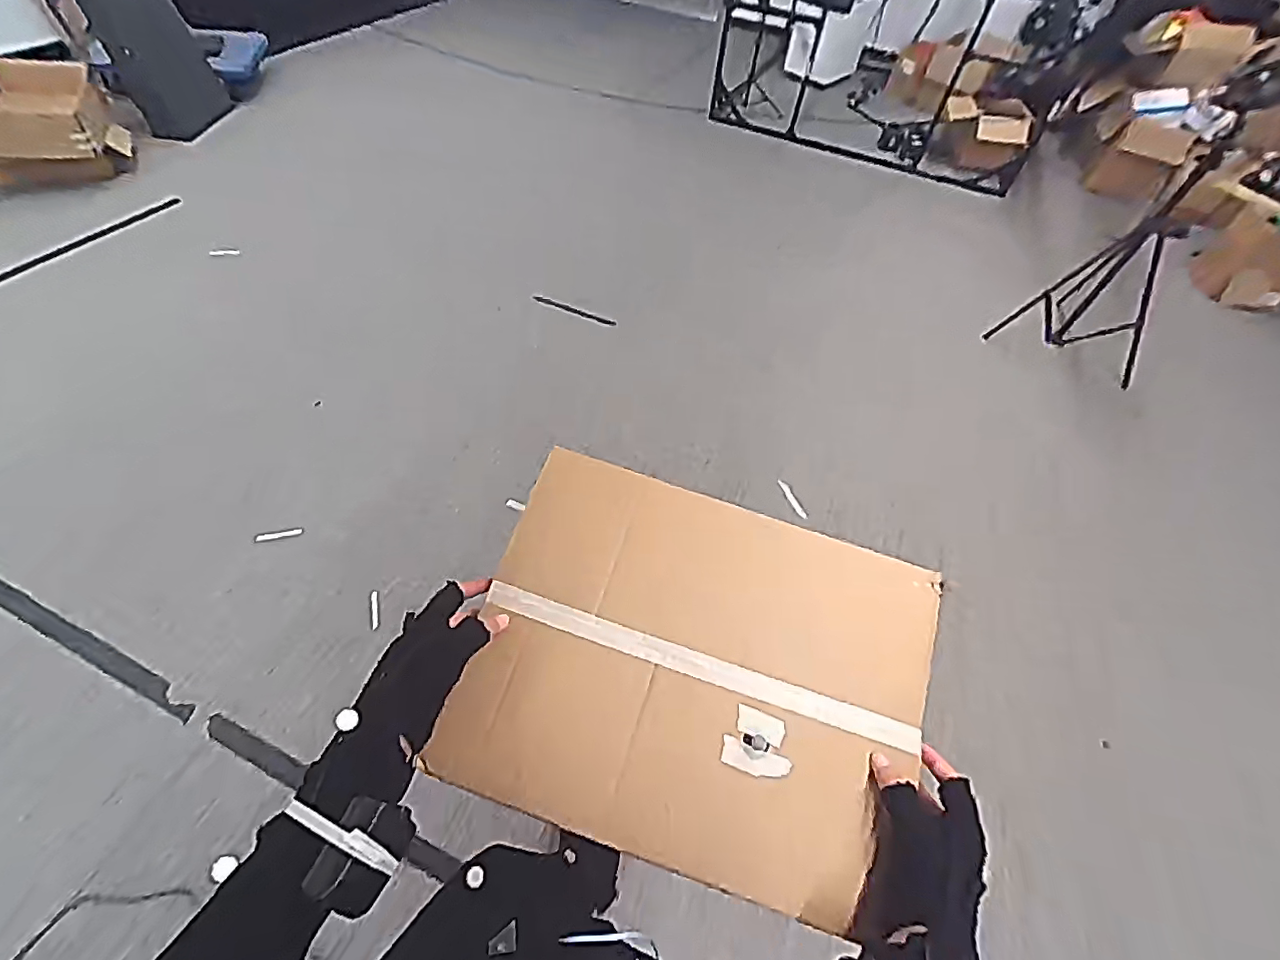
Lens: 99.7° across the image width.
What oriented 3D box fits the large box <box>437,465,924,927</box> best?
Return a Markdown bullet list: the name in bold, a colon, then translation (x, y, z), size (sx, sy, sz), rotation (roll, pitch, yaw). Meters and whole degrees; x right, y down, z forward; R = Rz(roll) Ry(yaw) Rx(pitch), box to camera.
- **large box**: translation (0.046, 0.228, 0.647), size (0.408, 0.320, 0.320), rotation (19, 70, 4)
